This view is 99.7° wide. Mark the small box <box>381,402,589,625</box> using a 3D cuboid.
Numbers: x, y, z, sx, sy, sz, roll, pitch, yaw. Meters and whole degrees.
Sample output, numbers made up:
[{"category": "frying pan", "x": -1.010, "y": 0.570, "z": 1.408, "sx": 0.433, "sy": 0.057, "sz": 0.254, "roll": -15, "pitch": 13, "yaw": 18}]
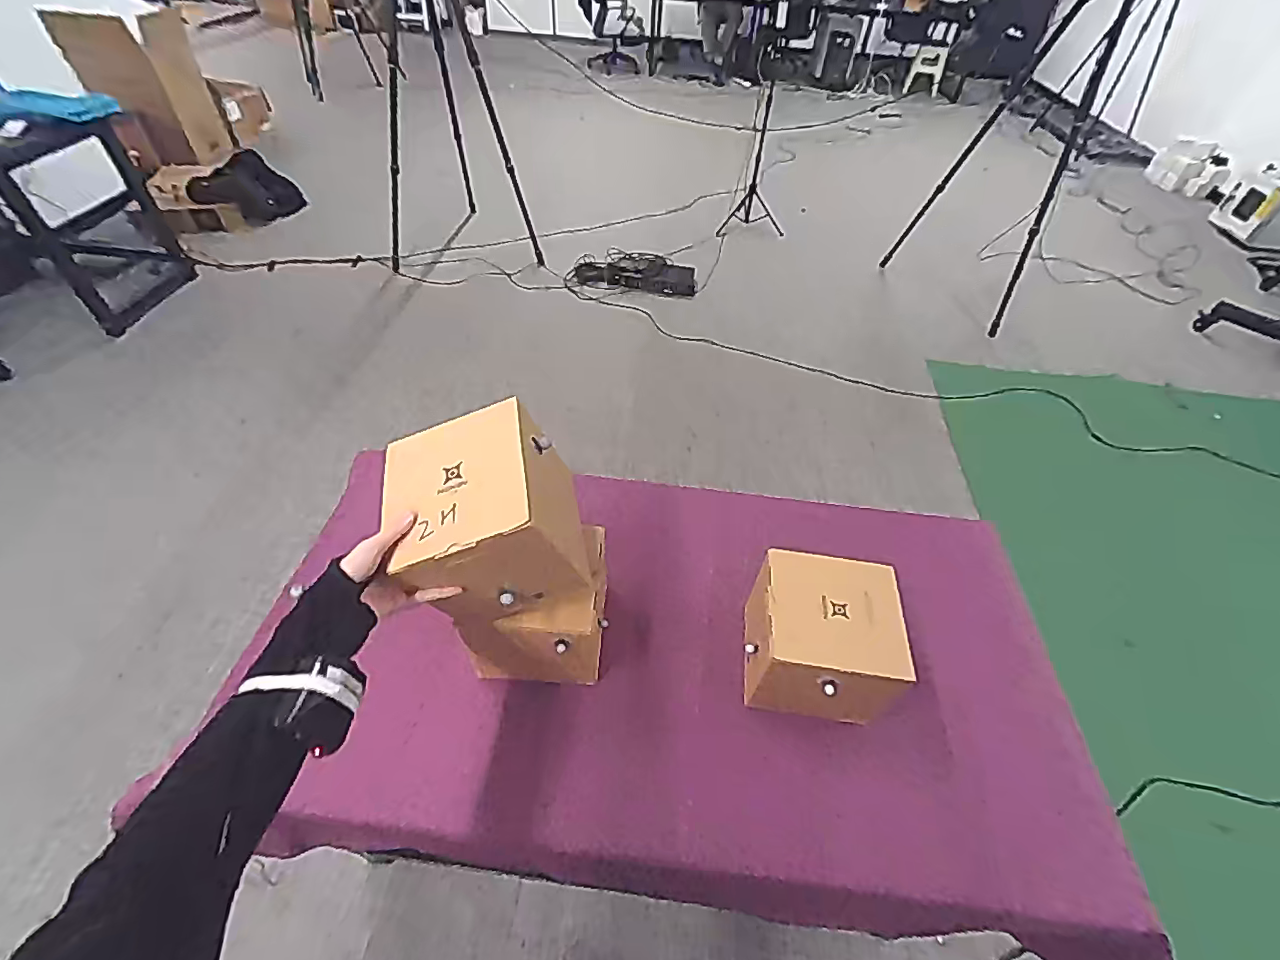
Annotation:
[{"category": "small box", "x": -0.173, "y": 0.045, "z": 0.636, "sx": 0.168, "sy": 0.176, "sz": 0.179, "roll": -20, "pitch": 55, "yaw": 7}]

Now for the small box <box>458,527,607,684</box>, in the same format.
[{"category": "small box", "x": -0.141, "y": 0.180, "z": 0.781, "sx": 0.179, "sy": 0.176, "sz": 0.168, "roll": 4, "pitch": 47, "yaw": -1}]

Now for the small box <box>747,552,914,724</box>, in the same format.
[{"category": "small box", "x": 0.252, "y": 0.225, "z": 0.762, "sx": 0.179, "sy": 0.176, "sz": 0.168, "roll": 8, "pitch": 49, "yaw": 3}]
